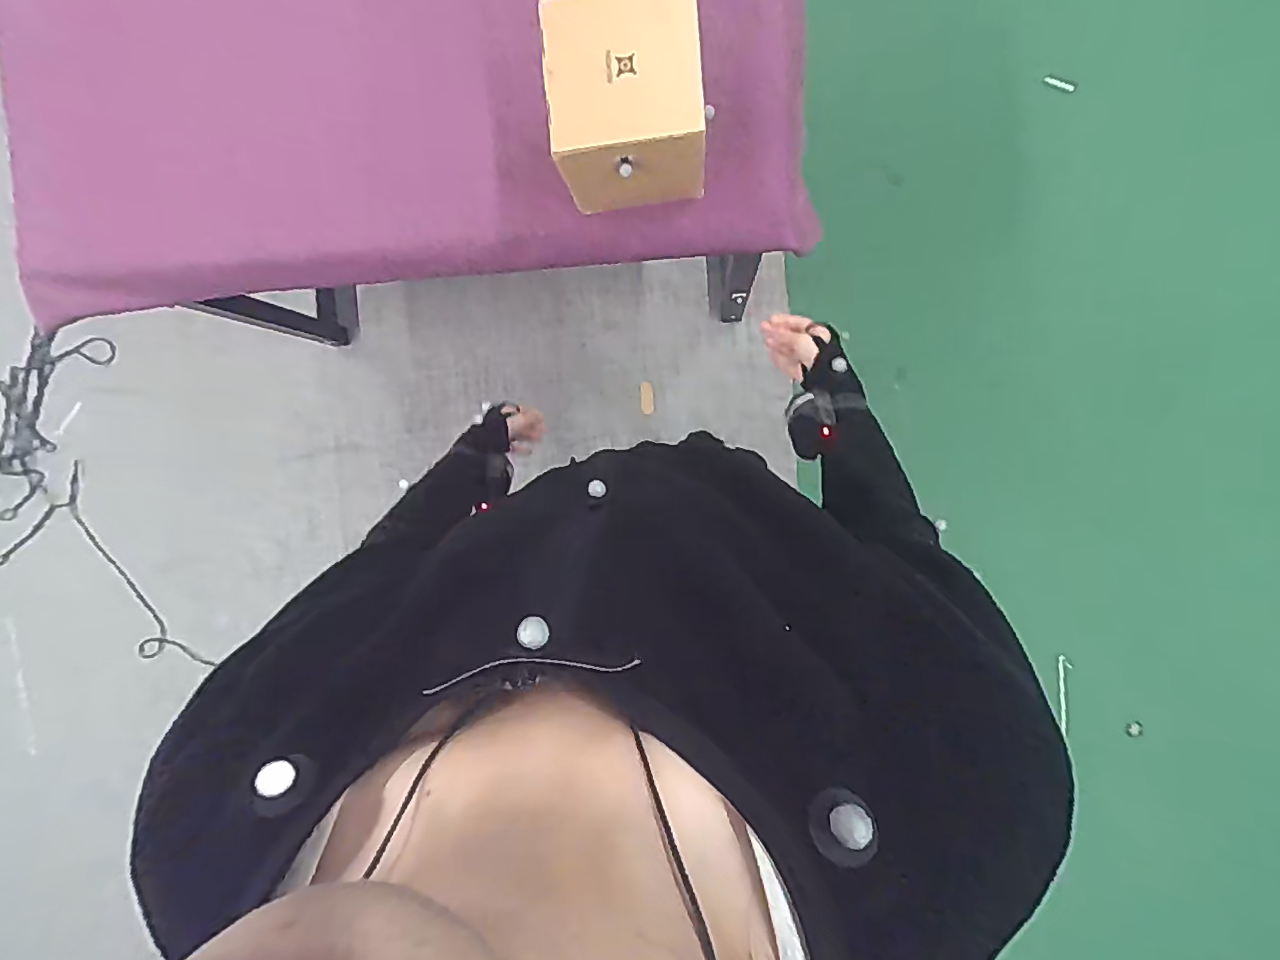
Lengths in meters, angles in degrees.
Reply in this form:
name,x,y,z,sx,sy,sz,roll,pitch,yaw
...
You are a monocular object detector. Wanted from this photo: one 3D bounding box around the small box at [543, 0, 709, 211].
name,x,y,z,sx,sy,sz,roll,pitch,yaw
small box,-0.006,-0.460,0.676,0.179,0.176,0.168,-5,95,9
